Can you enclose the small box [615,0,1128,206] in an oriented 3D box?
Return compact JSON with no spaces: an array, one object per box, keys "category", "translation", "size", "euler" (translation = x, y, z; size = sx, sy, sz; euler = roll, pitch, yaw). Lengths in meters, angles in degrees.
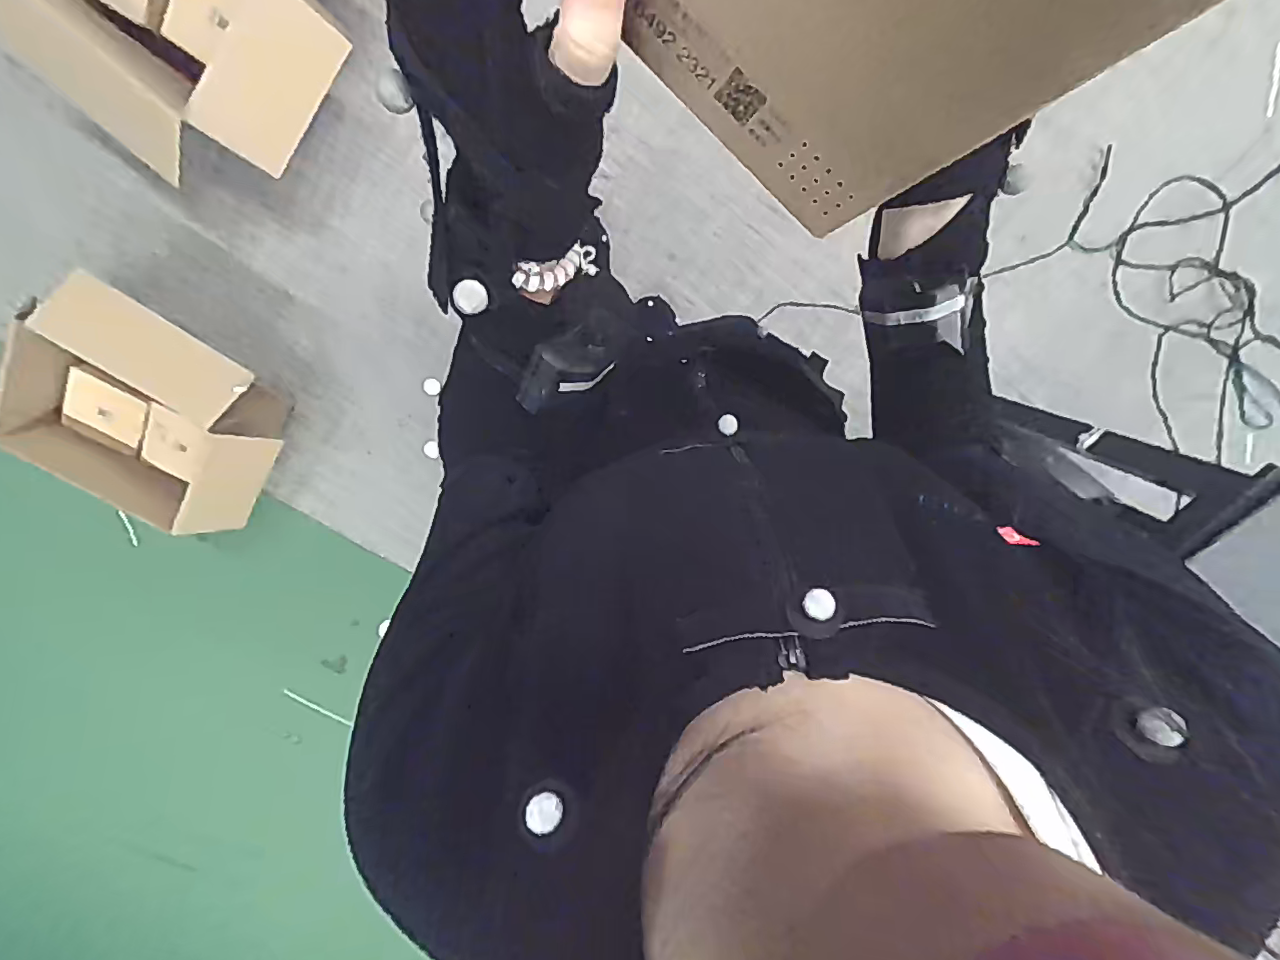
[{"category":"small box","translation":[0.082,-0.220,0.145],"size":[0.168,0.176,0.179],"euler":[35,76,-20]}]
